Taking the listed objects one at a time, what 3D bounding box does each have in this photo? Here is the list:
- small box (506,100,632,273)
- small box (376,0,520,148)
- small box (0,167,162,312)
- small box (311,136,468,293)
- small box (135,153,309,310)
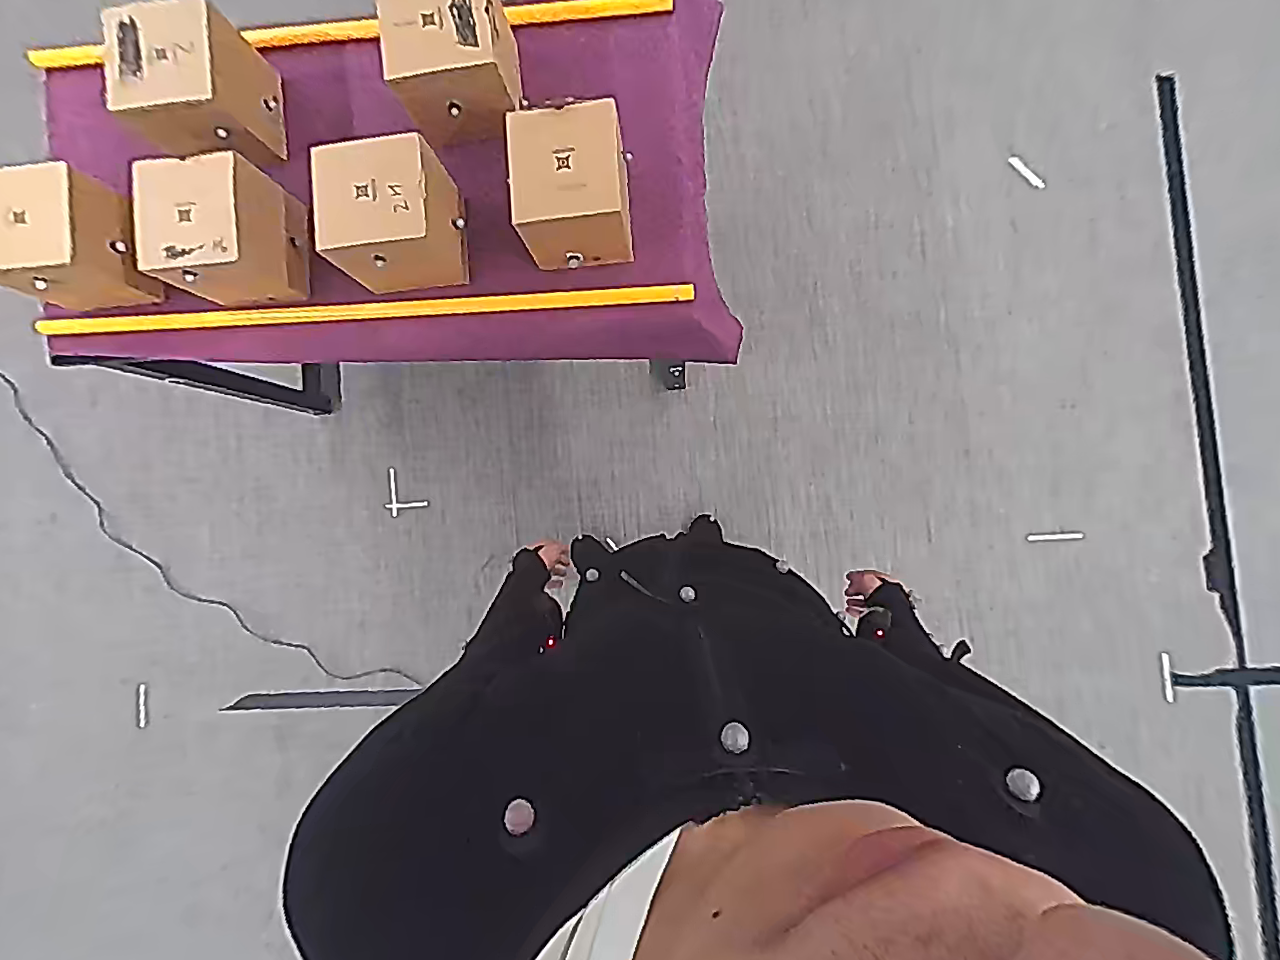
[{"bbox_3d":[-0.106,-0.458,0.866,0.168,0.176,0.179,-4,86,5],"label":"small box"},{"bbox_3d":[-0.303,-0.685,0.890,0.179,0.176,0.168,-6,89,5],"label":"small box"},{"bbox_3d":[-0.967,-0.400,0.925,0.179,0.176,0.168,-4,87,4],"label":"small box"},{"bbox_3d":[-0.402,-0.421,0.887,0.179,0.176,0.168,-5,86,4],"label":"small box"},{"bbox_3d":[-0.687,-0.405,0.906,0.168,0.176,0.179,-4,87,5],"label":"small box"}]
